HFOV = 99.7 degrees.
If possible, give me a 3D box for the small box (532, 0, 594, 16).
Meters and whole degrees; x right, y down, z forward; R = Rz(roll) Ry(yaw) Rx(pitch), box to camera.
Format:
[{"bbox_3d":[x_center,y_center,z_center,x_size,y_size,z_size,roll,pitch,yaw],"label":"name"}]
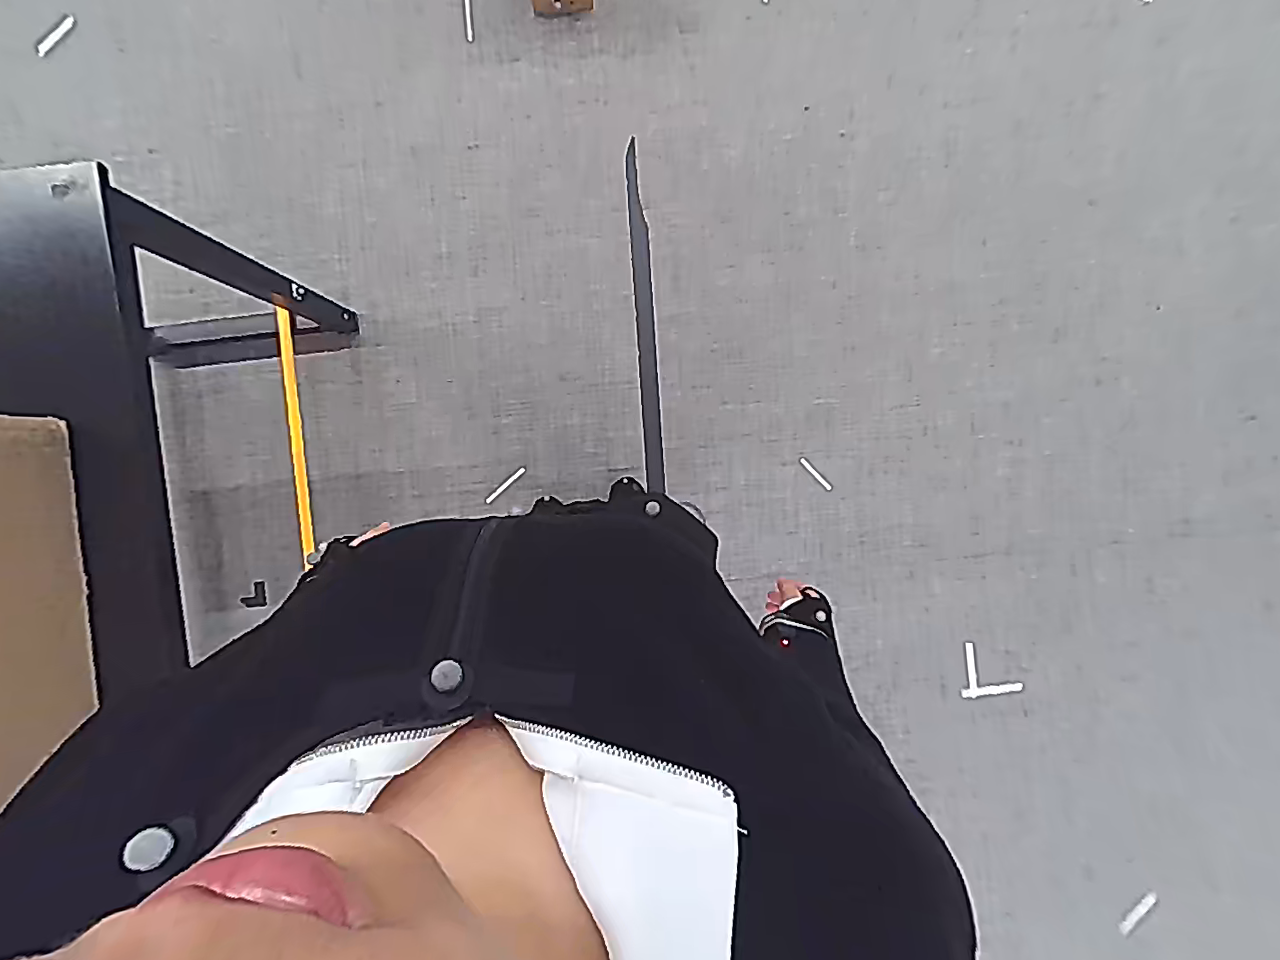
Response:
[{"bbox_3d":[-0.211,-1.329,1.360,0.168,0.176,0.179,-7,93,0],"label":"small box"}]
